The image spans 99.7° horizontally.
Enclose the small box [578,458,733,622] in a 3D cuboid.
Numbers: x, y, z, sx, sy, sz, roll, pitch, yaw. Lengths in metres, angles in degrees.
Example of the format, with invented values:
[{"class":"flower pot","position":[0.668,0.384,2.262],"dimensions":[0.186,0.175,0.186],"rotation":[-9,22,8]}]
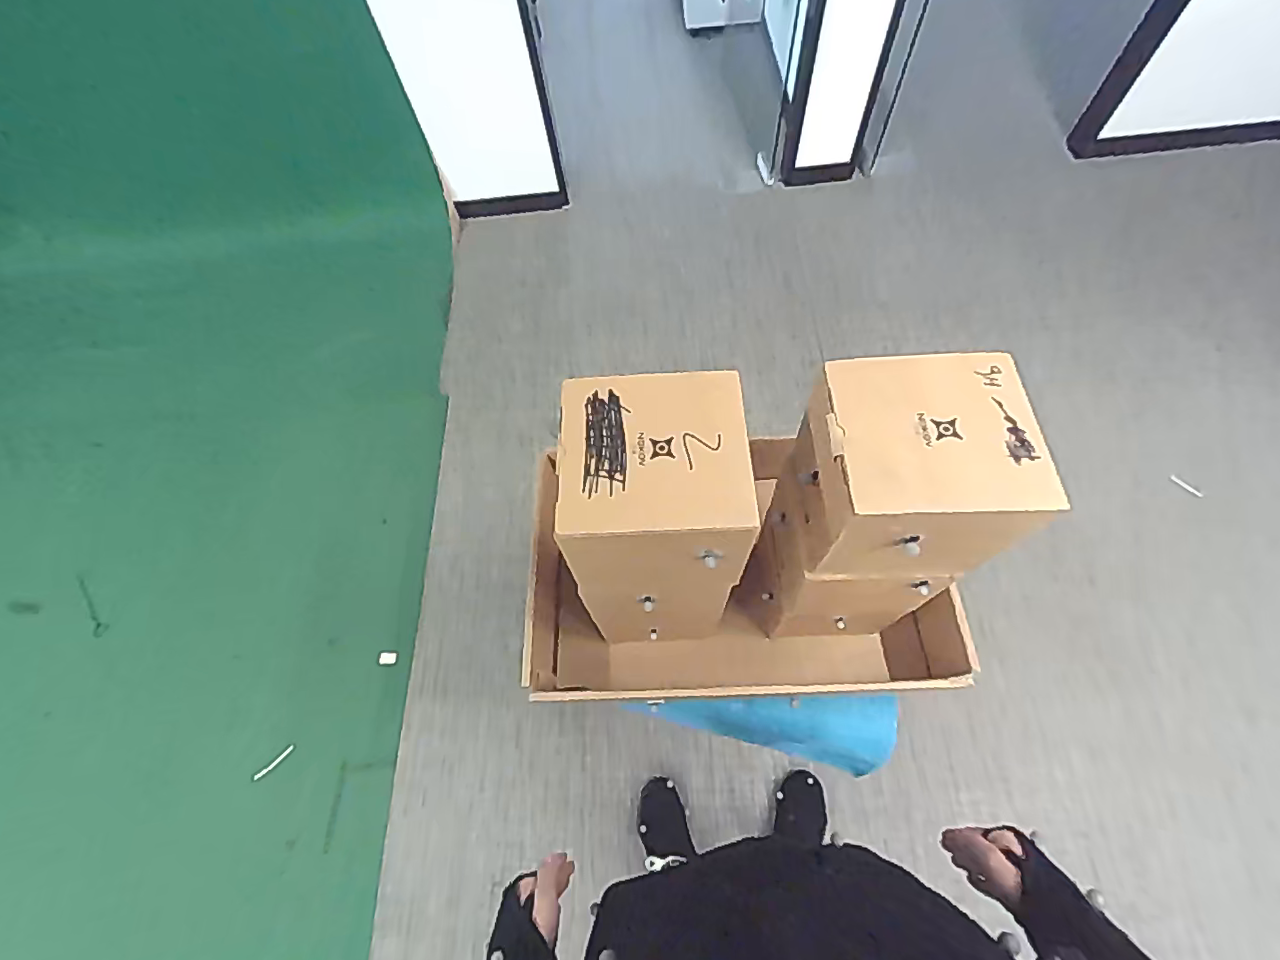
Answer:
[{"class":"small box","position":[0.021,0.085,0.705],"dimensions":[0.179,0.176,0.168],"rotation":[-3,63,2]}]
